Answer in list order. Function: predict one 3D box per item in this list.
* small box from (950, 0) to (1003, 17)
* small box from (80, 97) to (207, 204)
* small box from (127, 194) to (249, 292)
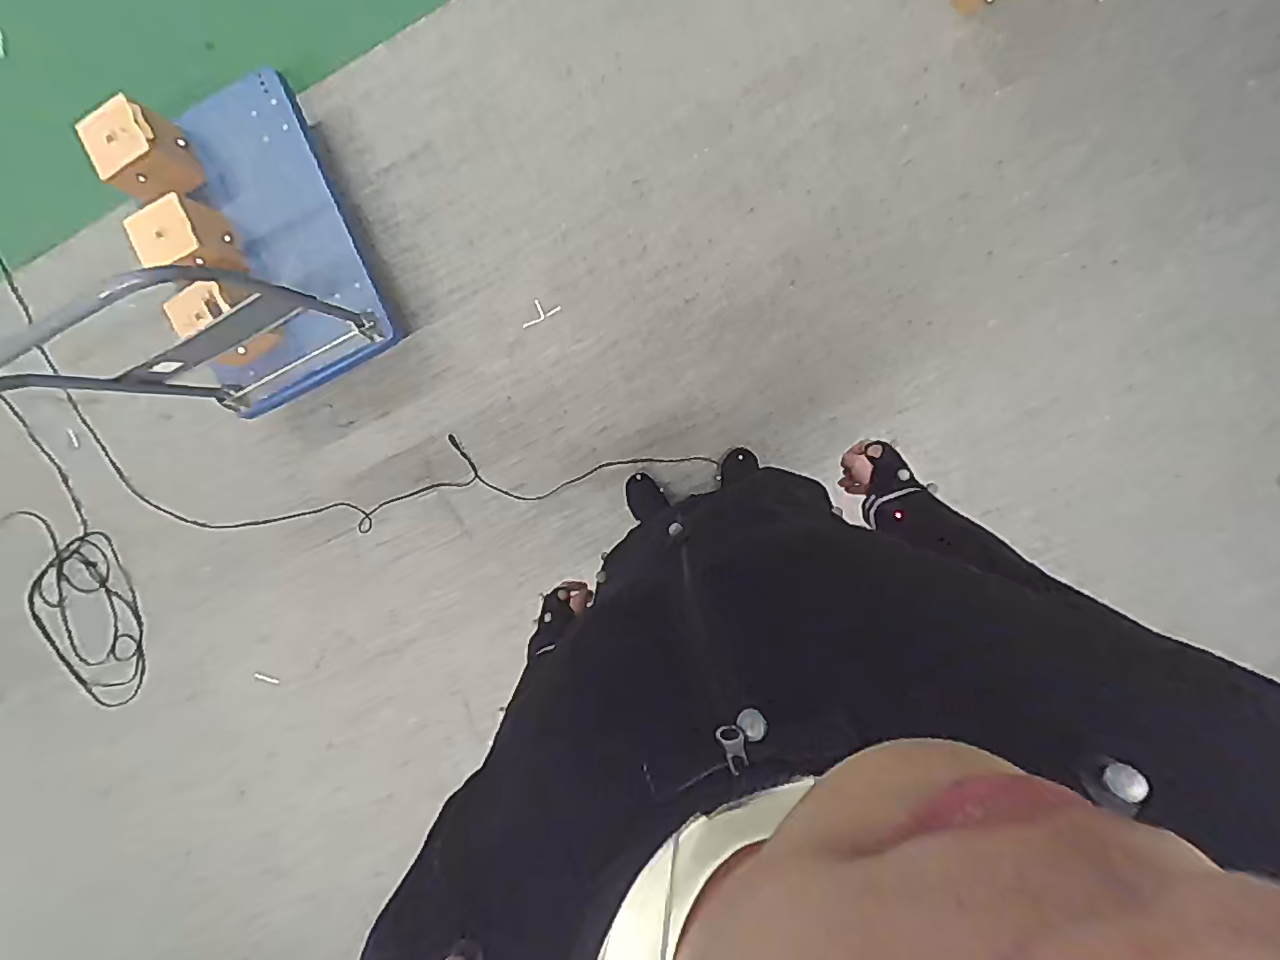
[{"bbox_3d":[0.915,-1.380,1.407,0.168,0.176,0.179,-19,91,8],"label":"small box"},{"bbox_3d":[-1.383,-0.909,1.516,0.179,0.176,0.168,-25,91,7],"label":"small box"},{"bbox_3d":[-1.262,-0.656,1.521,0.179,0.176,0.168,-24,90,6],"label":"small box"}]
